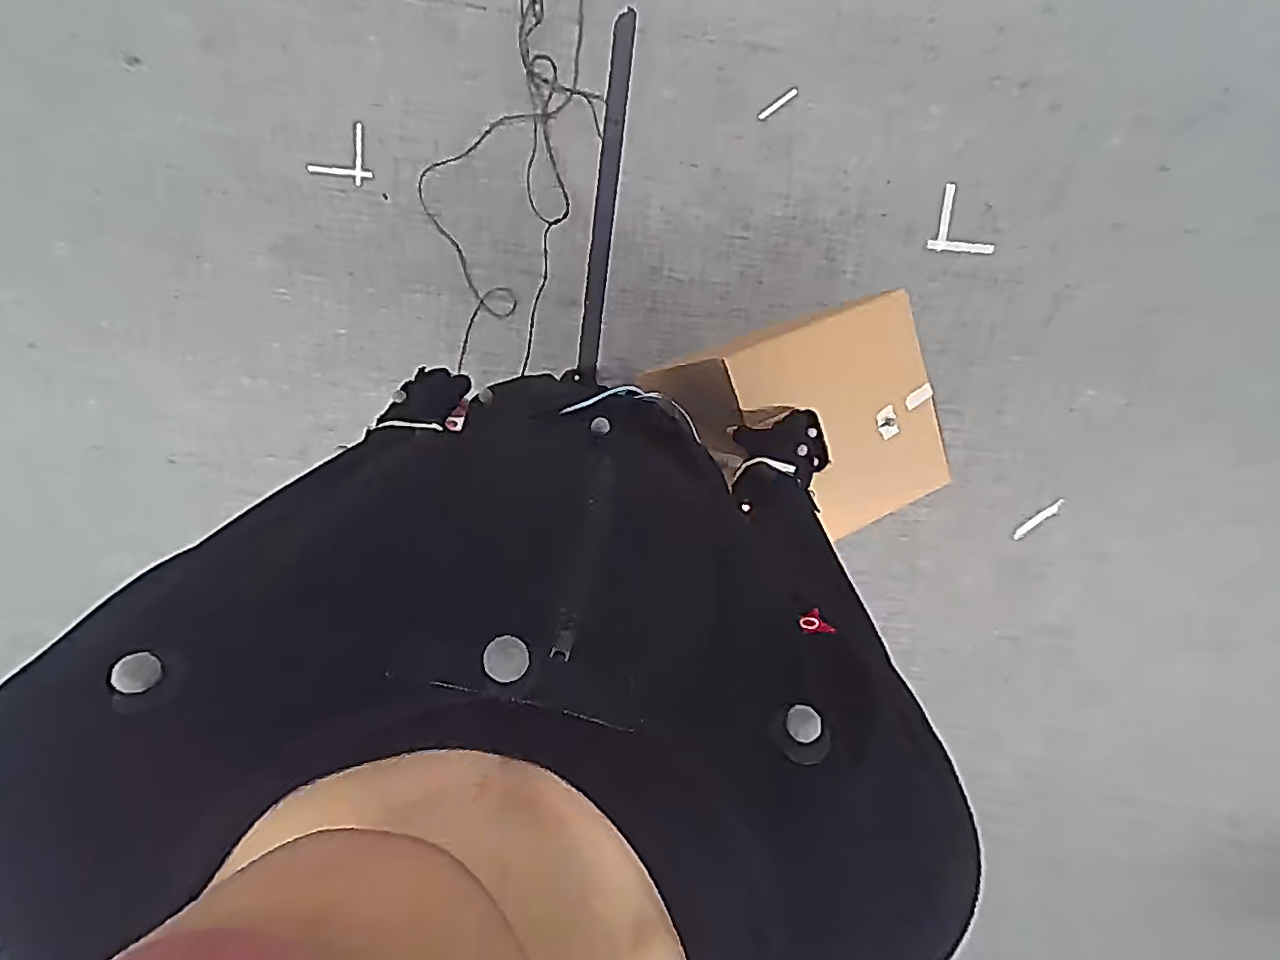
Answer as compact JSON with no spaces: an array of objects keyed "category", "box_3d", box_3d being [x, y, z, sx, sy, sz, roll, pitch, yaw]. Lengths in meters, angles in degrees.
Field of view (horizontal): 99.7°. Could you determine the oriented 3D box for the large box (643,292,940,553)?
[{"category":"large box","box_3d":[0.244,-0.108,0.983,0.320,0.408,0.320,-22,103,-12]}]
